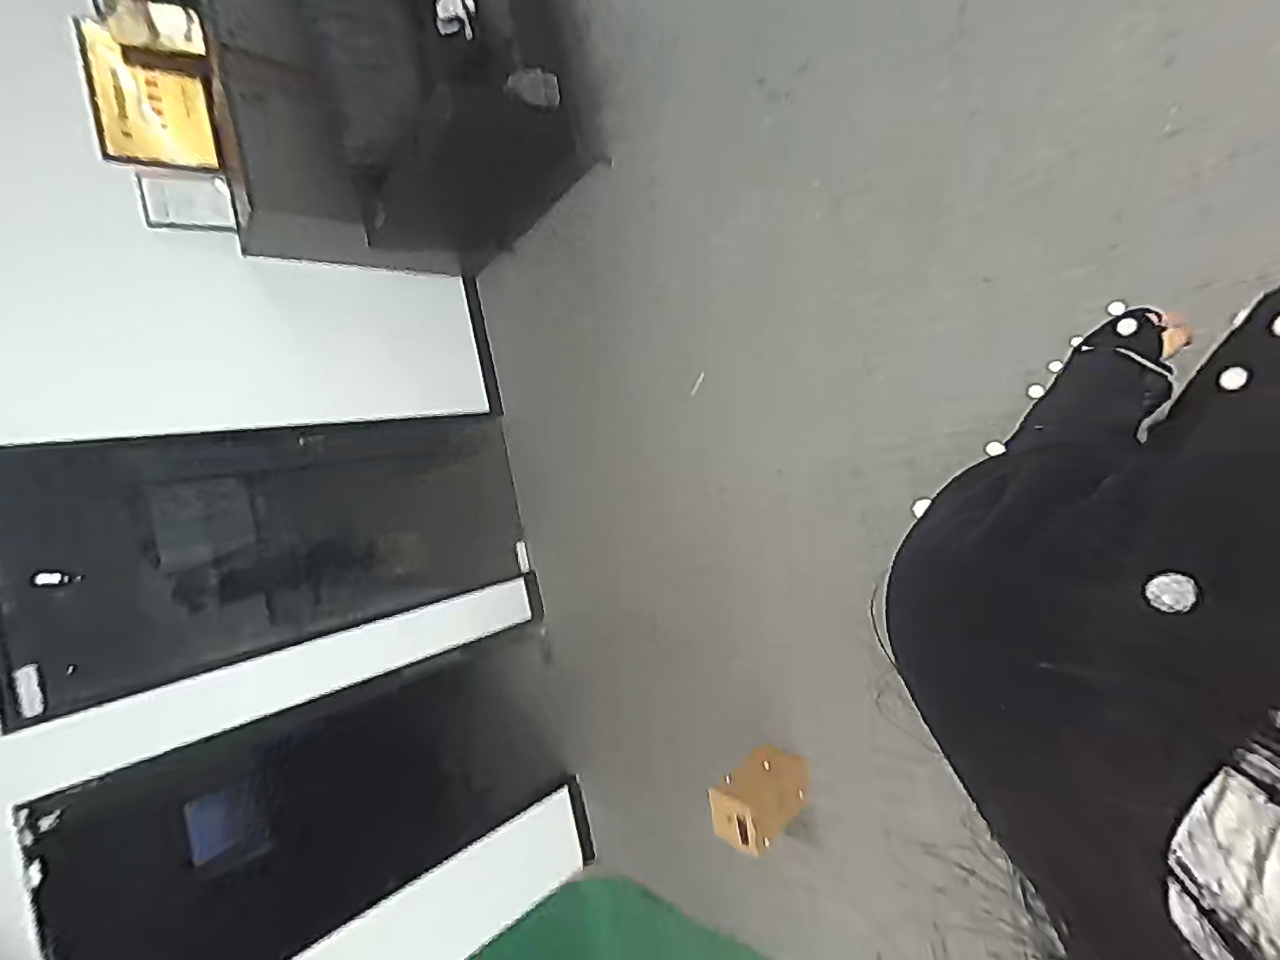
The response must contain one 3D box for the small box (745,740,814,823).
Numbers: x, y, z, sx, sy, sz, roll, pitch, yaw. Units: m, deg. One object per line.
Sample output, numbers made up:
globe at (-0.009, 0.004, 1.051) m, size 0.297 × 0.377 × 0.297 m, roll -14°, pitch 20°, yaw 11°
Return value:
small box at (0.490, 1.046, 1.896) m, size 0.179 × 0.176 × 0.168 m, roll 4°, pitch 102°, yaw 47°
